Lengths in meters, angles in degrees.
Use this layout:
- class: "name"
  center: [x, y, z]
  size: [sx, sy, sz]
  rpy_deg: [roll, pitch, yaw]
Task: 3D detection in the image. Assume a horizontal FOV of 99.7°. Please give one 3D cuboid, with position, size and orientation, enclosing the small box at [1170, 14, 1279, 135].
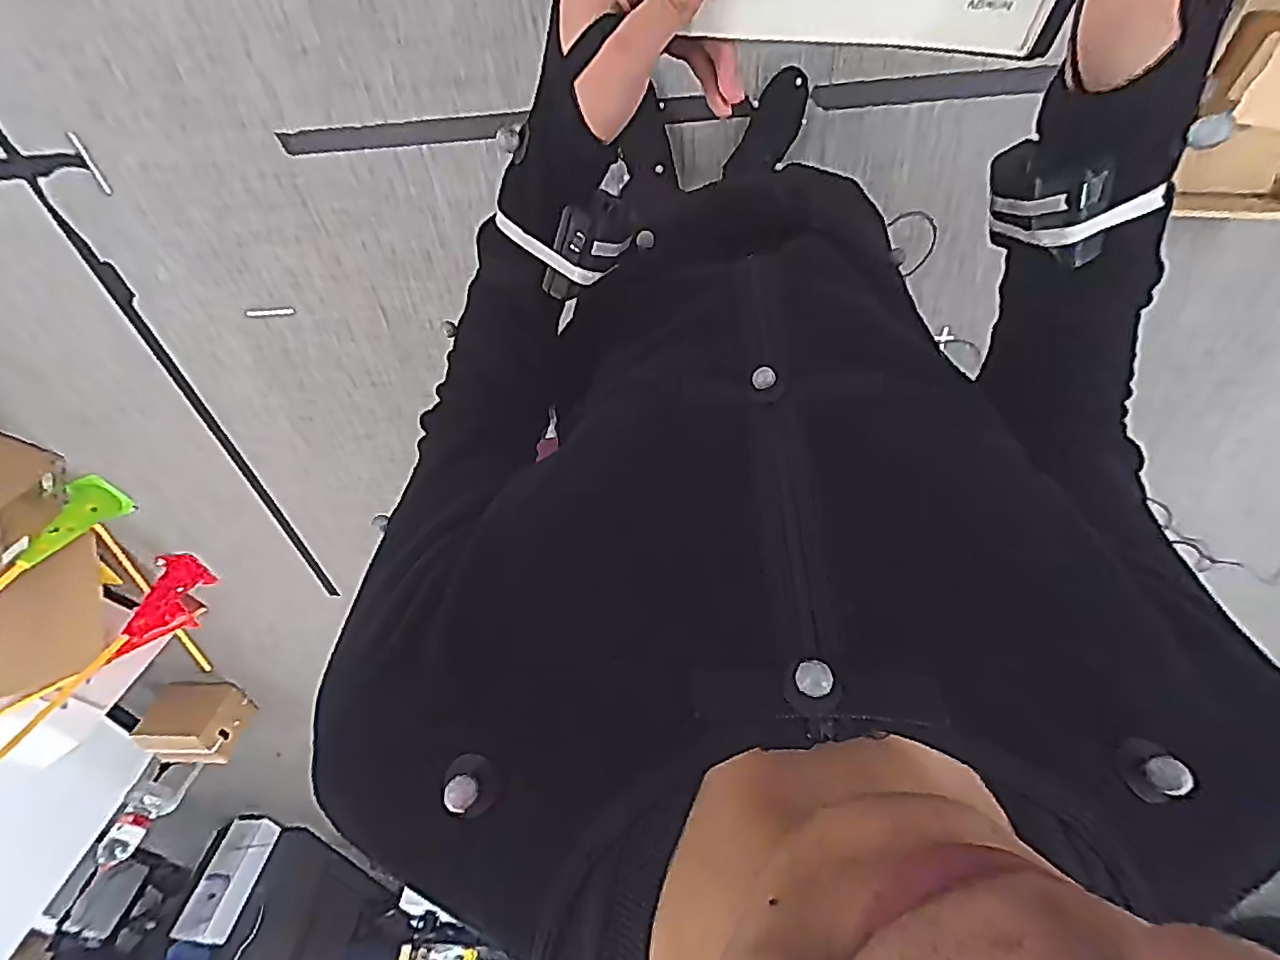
- class: "small box"
  center: [1.215, -0.782, 1.049]
  size: [0.179, 0.176, 0.168]
  rpy_deg: [9, 129, -3]
